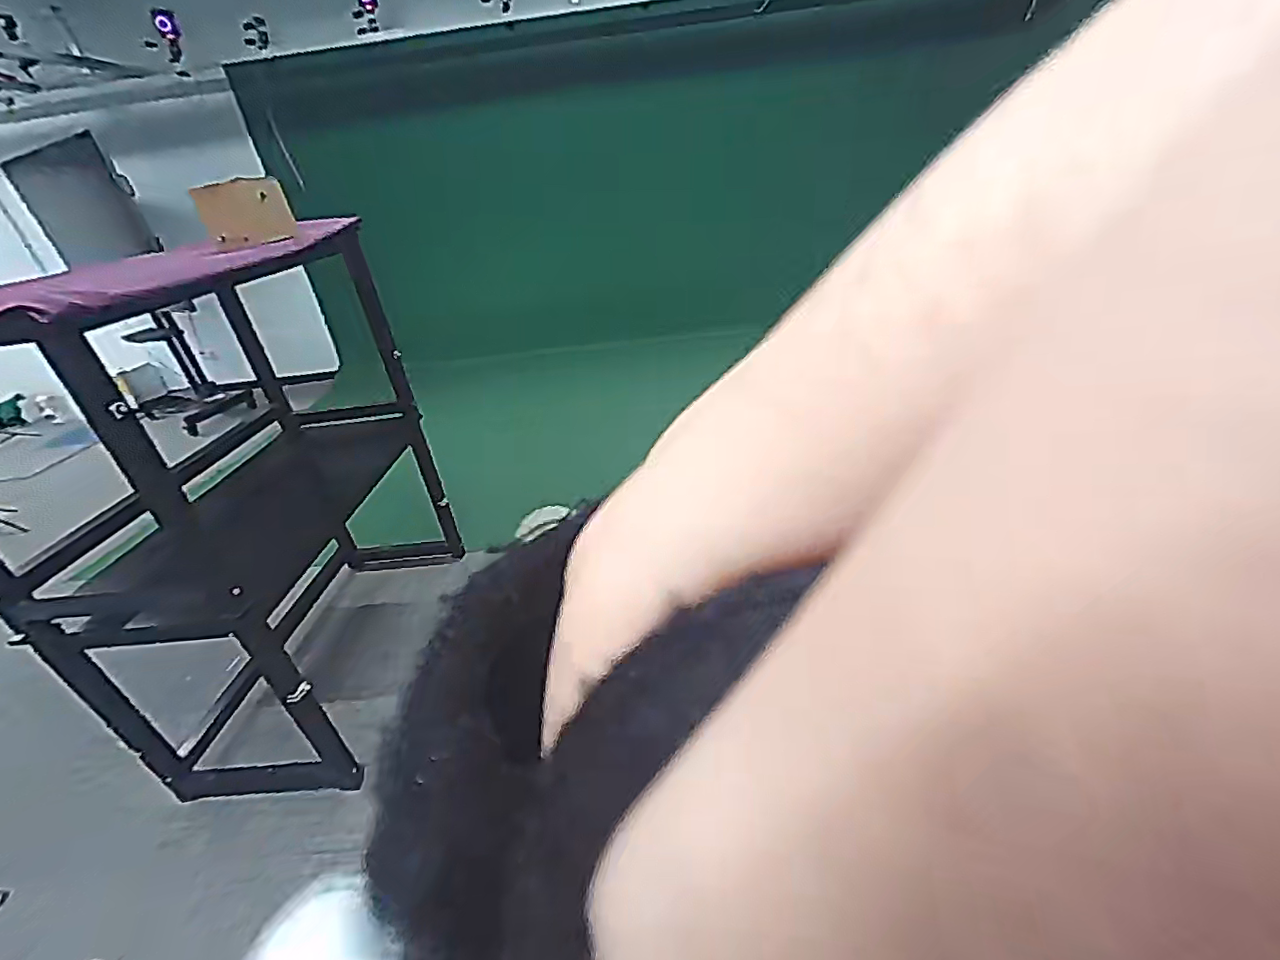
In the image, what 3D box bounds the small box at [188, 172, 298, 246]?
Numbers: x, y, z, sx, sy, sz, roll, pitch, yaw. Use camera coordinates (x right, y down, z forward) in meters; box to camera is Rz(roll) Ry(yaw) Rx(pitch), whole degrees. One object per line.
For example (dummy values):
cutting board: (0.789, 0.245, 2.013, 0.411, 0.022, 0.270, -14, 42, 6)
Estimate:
small box: (-1.169, -0.804, 1.610, 0.168, 0.176, 0.179, -7, 31, 6)
